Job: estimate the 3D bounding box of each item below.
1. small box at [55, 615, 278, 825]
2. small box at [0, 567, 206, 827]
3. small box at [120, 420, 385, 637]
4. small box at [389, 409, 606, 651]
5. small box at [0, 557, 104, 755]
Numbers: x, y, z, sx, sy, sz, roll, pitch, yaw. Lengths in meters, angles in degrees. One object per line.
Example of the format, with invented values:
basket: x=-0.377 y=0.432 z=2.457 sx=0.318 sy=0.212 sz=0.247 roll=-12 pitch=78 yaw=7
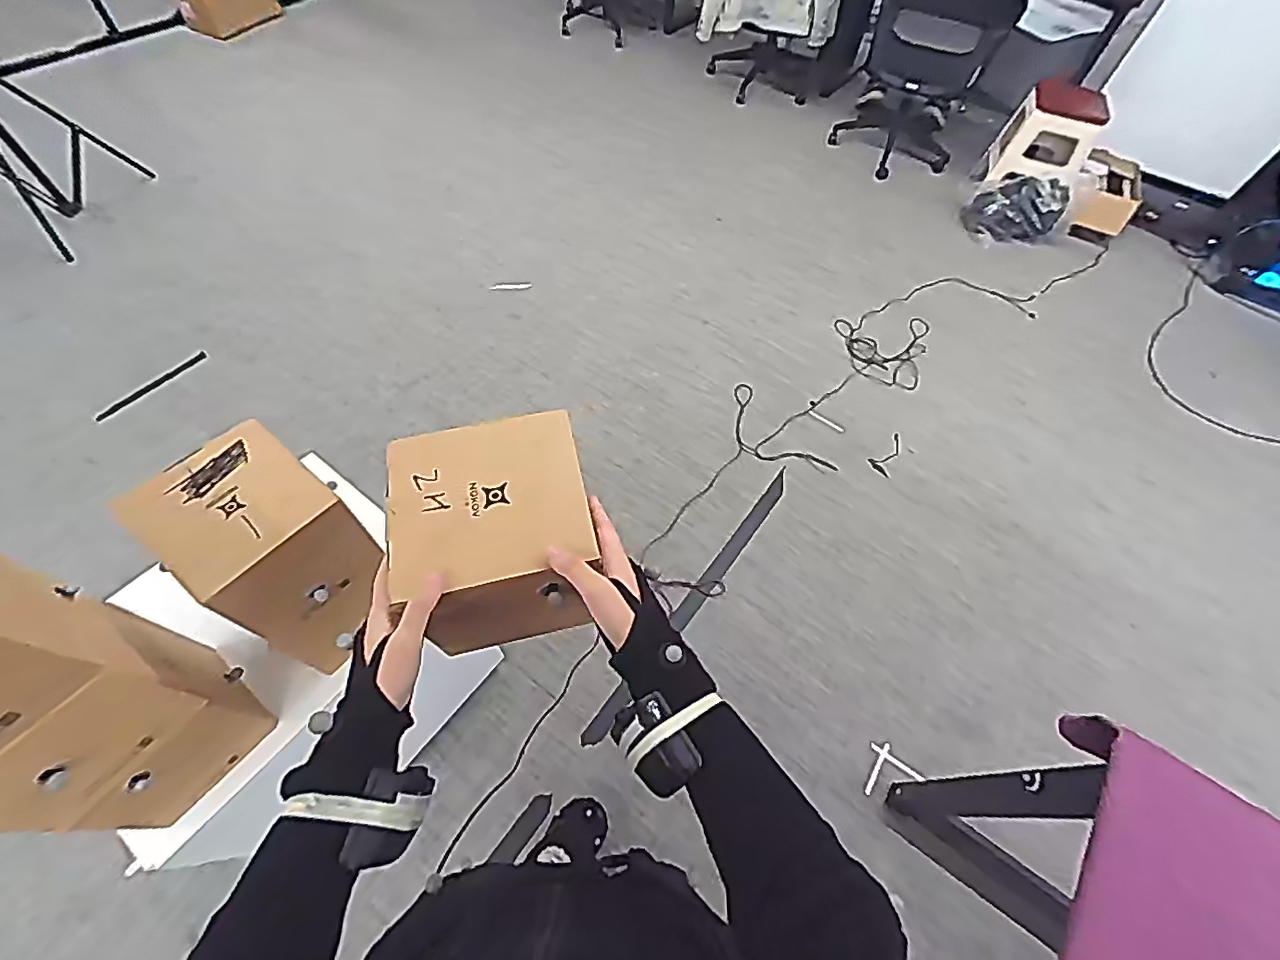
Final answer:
small box: x=-0.624 y=0.311 z=0.695 sx=0.179 sy=0.176 sz=0.168 roll=34 pitch=63 yaw=17
small box: x=-0.612 y=0.226 z=0.557 sx=0.179 sy=0.176 sz=0.168 roll=33 pitch=62 yaw=16
small box: x=-0.456 y=0.066 z=0.666 sx=0.179 sy=0.176 sz=0.168 roll=36 pitch=63 yaw=16
small box: x=-0.132 y=0.056 z=0.545 sx=0.179 sy=0.176 sz=0.168 roll=-12 pitch=59 yaw=-7
small box: x=-0.602 y=0.139 z=0.421 sx=0.179 sy=0.176 sz=0.168 roll=33 pitch=62 yaw=15
